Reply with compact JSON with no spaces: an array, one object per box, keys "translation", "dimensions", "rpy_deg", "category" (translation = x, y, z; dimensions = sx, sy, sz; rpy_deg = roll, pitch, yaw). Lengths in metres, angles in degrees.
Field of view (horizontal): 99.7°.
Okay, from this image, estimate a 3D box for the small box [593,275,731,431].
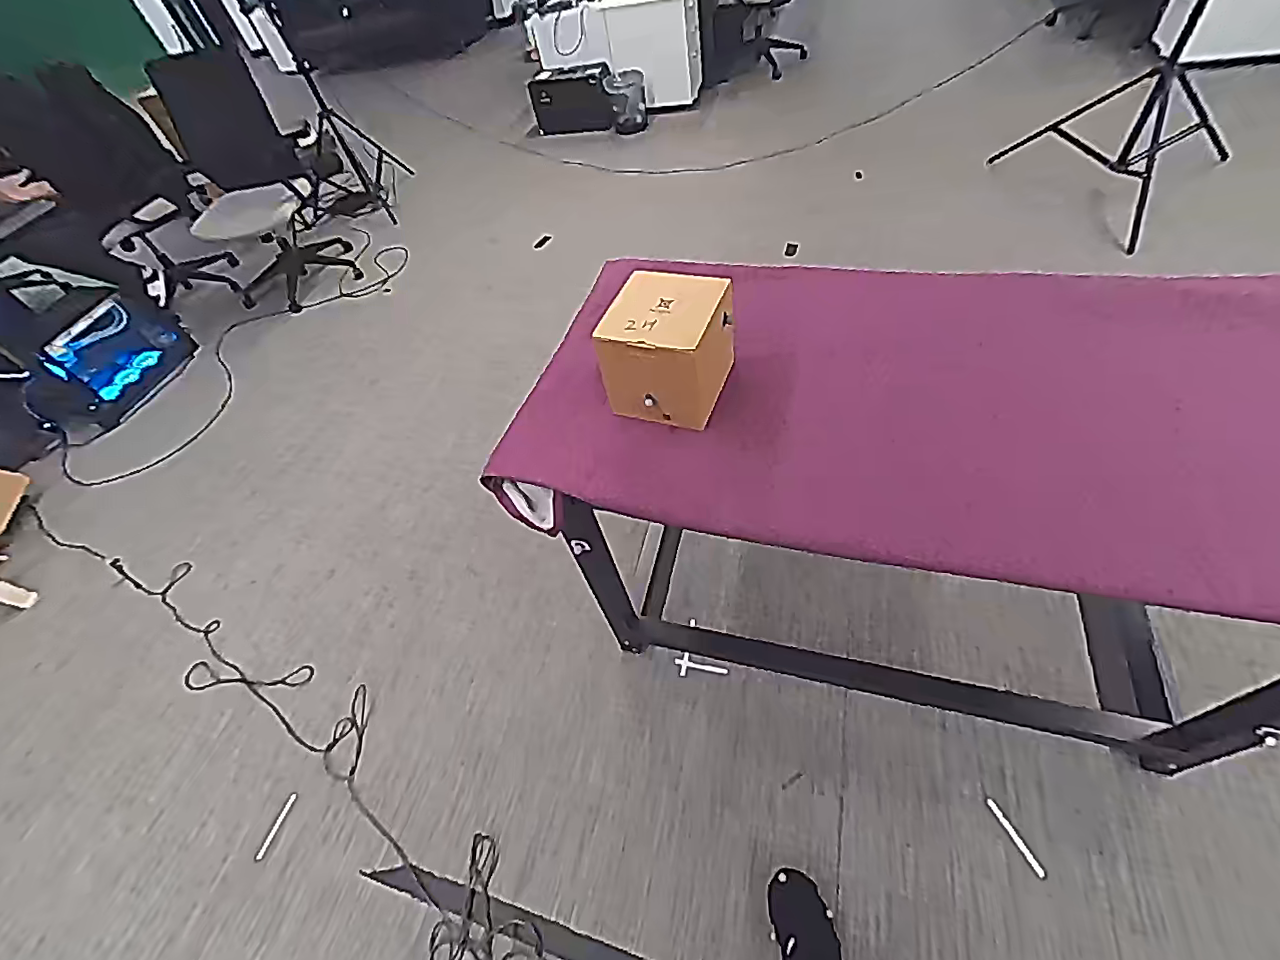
[{"translation":[0.046,-0.209,0.889],"dimensions":[0.168,0.176,0.179],"rpy_deg":[13,57,21],"category":"small box"}]
